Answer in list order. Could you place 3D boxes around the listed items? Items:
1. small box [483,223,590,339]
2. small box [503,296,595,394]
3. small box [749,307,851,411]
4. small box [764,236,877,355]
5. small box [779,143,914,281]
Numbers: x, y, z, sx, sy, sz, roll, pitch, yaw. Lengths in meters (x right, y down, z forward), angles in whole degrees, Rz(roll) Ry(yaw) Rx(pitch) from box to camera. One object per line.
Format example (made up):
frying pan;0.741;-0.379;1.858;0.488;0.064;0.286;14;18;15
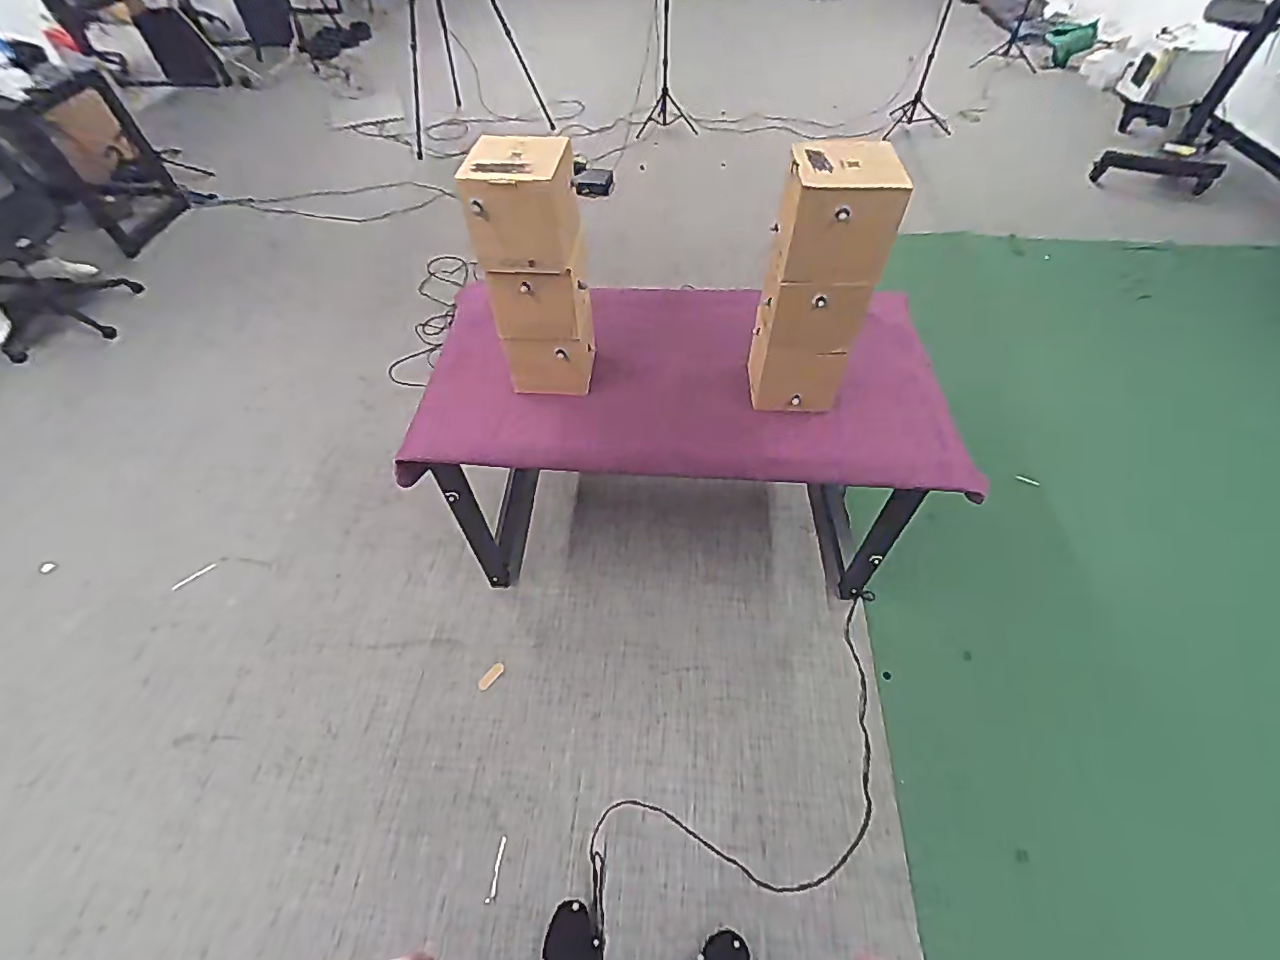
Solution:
small box;-0.204;-0.411;1.129;0.179;0.176;0.168;3;54;3
small box;-0.202;-0.316;1.260;0.179;0.176;0.168;3;53;3
small box;0.349;-0.268;1.213;0.179;0.176;0.168;2;53;2
small box;0.347;-0.368;1.083;0.179;0.176;0.168;3;54;3
small box;0.347;-0.468;0.953;0.179;0.176;0.168;2;54;3
